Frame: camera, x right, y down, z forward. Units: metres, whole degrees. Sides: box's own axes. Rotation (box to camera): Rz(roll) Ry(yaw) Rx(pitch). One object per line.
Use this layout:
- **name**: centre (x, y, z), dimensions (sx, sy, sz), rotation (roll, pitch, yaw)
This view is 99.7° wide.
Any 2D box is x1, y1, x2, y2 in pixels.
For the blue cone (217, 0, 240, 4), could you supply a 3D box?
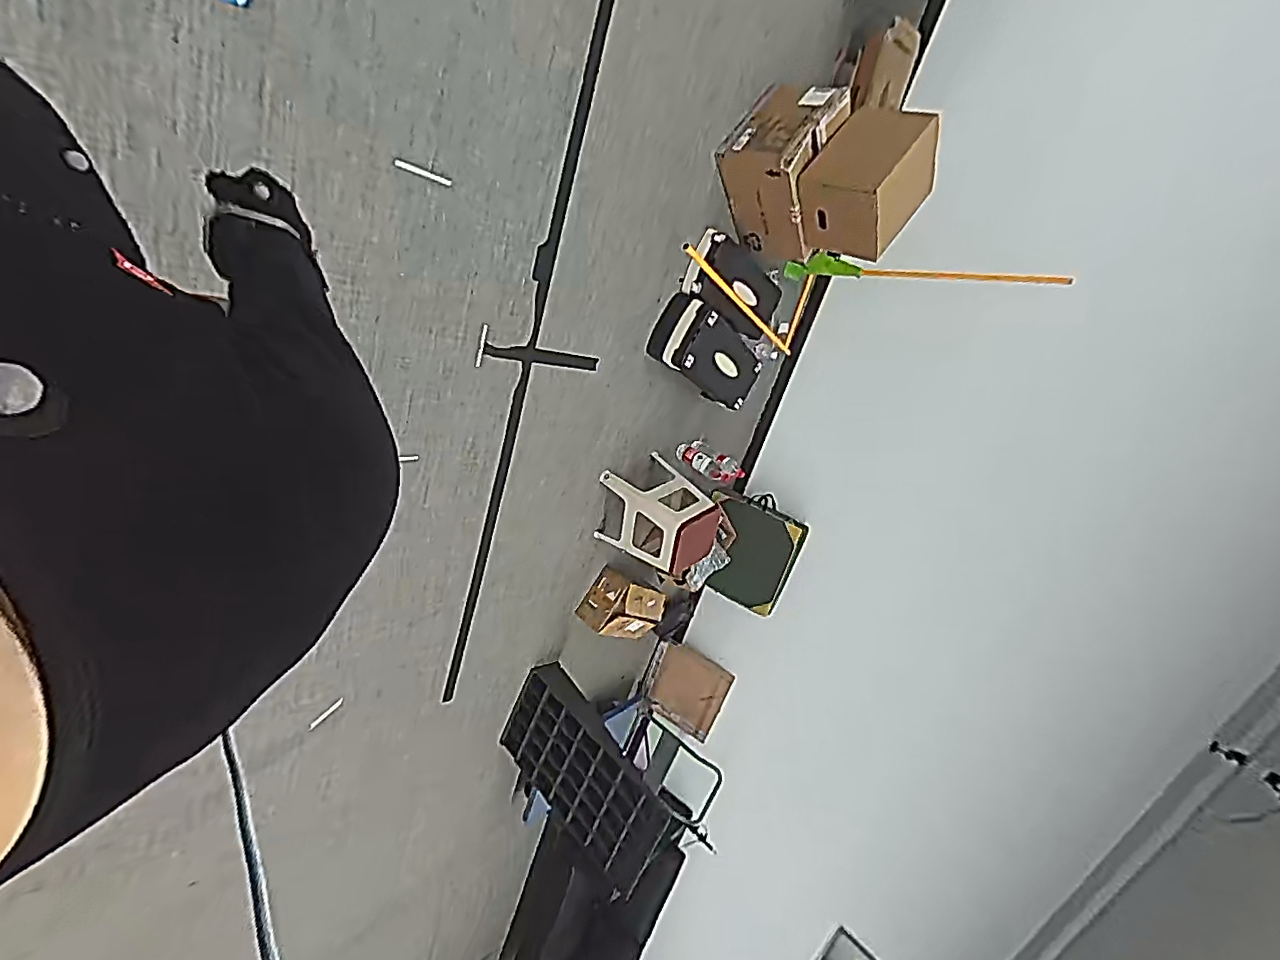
- **blue cone**: centre (-0.652, -0.866, 0.810), dimensions (0.193, 0.380, 0.192), rotation (-14, 127, -48)
